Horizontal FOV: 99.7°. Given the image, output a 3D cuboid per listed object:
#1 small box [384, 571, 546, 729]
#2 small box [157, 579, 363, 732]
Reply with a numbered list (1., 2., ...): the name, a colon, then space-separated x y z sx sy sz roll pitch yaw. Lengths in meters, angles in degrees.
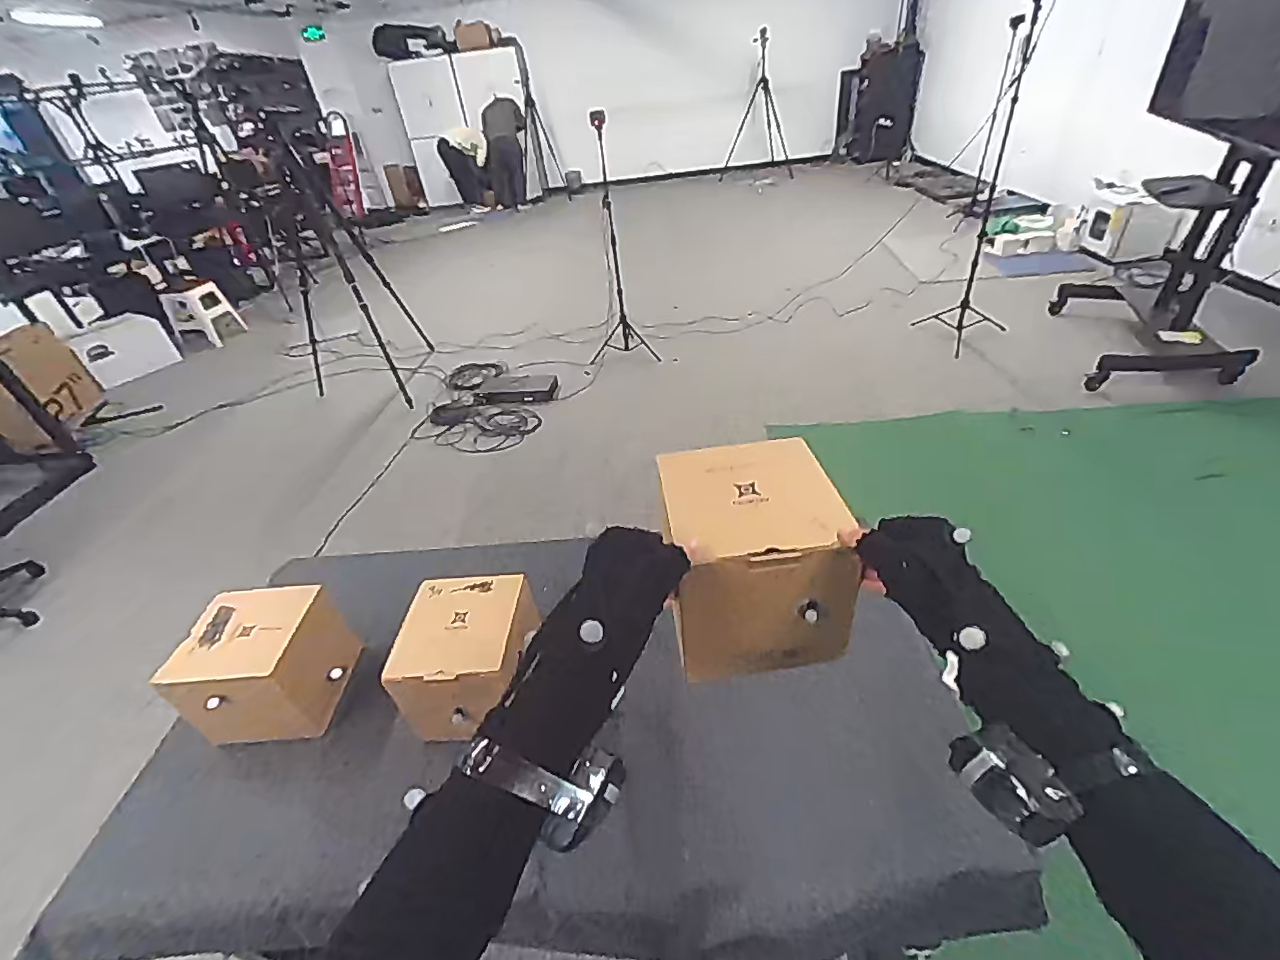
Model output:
1. small box: -0.250 0.262 0.825 0.168 0.176 0.179 -4 38 5
2. small box: -0.580 0.278 0.855 0.179 0.176 0.168 -4 38 2
